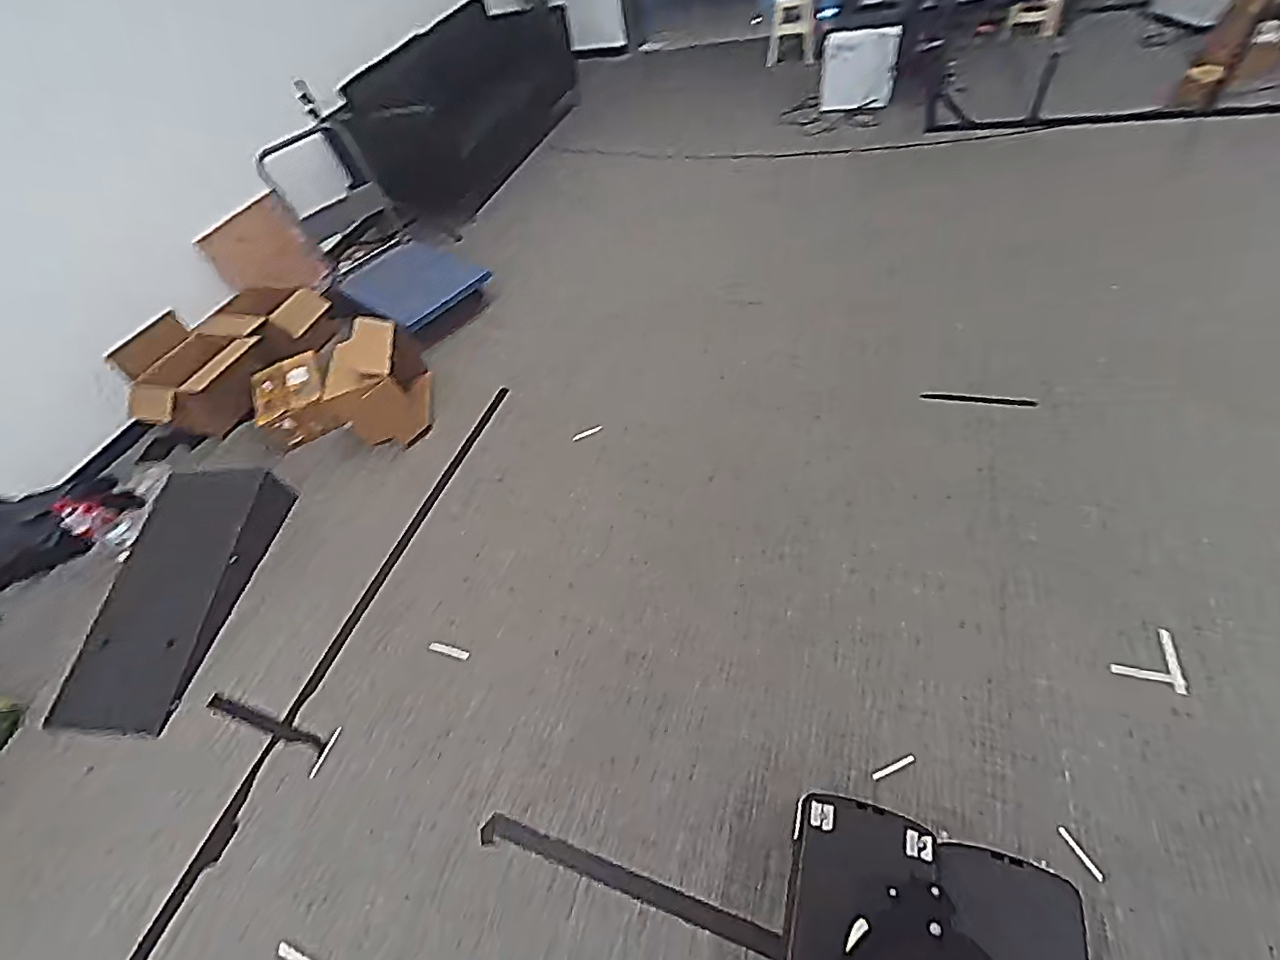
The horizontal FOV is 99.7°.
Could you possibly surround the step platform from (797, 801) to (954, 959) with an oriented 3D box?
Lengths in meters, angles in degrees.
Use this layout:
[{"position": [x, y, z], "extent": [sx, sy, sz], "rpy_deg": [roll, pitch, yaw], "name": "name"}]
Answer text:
[{"position": [0.447, 1.034, 1.065], "extent": [0.286, 0.204, 0.684], "rpy_deg": [8, 53, 18], "name": "step platform"}]
